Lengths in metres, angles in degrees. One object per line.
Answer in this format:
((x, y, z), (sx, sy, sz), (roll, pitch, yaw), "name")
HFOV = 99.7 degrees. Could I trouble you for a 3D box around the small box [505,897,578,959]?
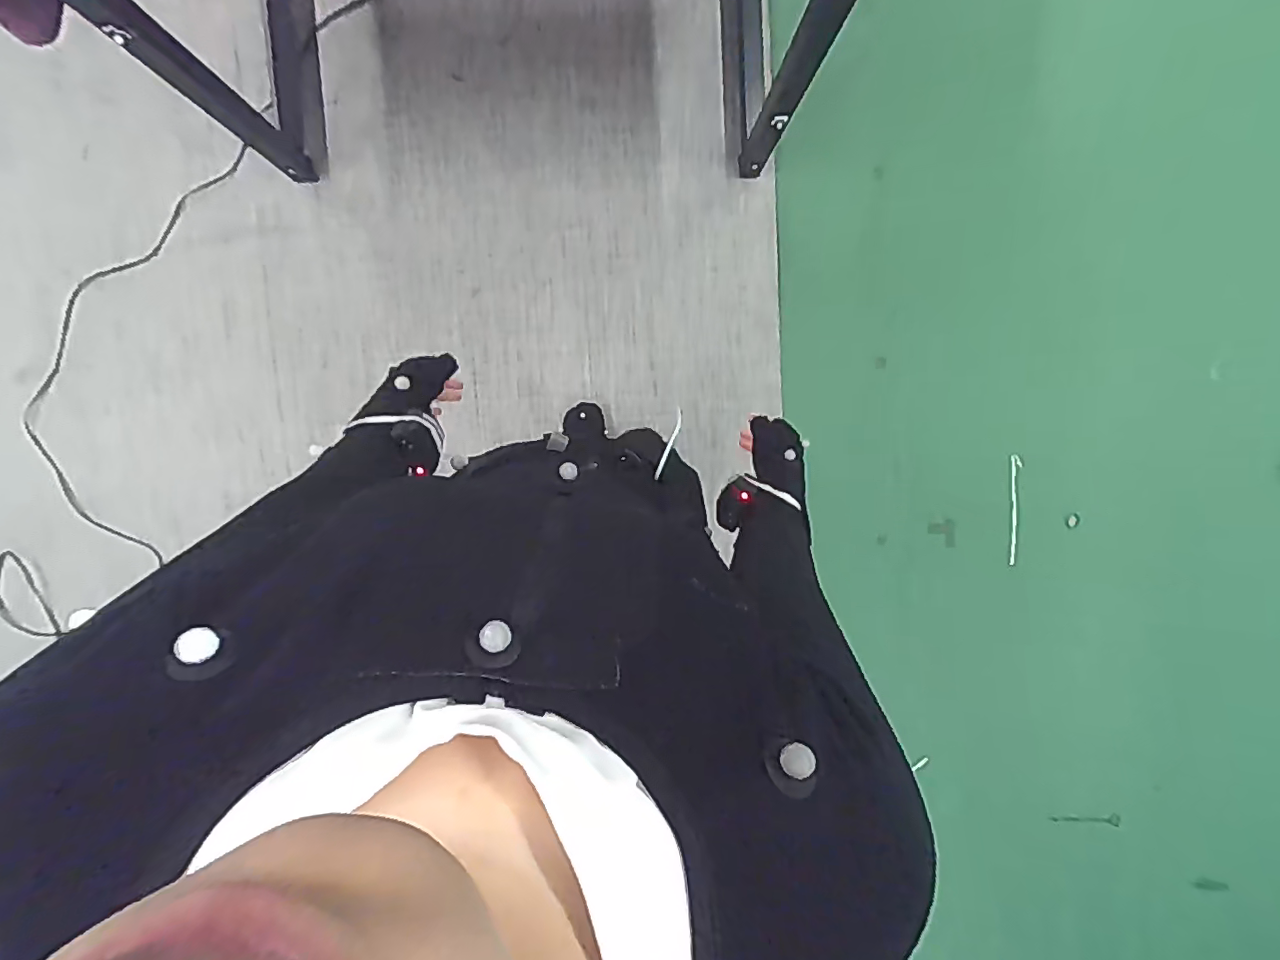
((-0.259, 1.276, 1.453), (0.168, 0.176, 0.179), (-4, 97, -2), "small box")
